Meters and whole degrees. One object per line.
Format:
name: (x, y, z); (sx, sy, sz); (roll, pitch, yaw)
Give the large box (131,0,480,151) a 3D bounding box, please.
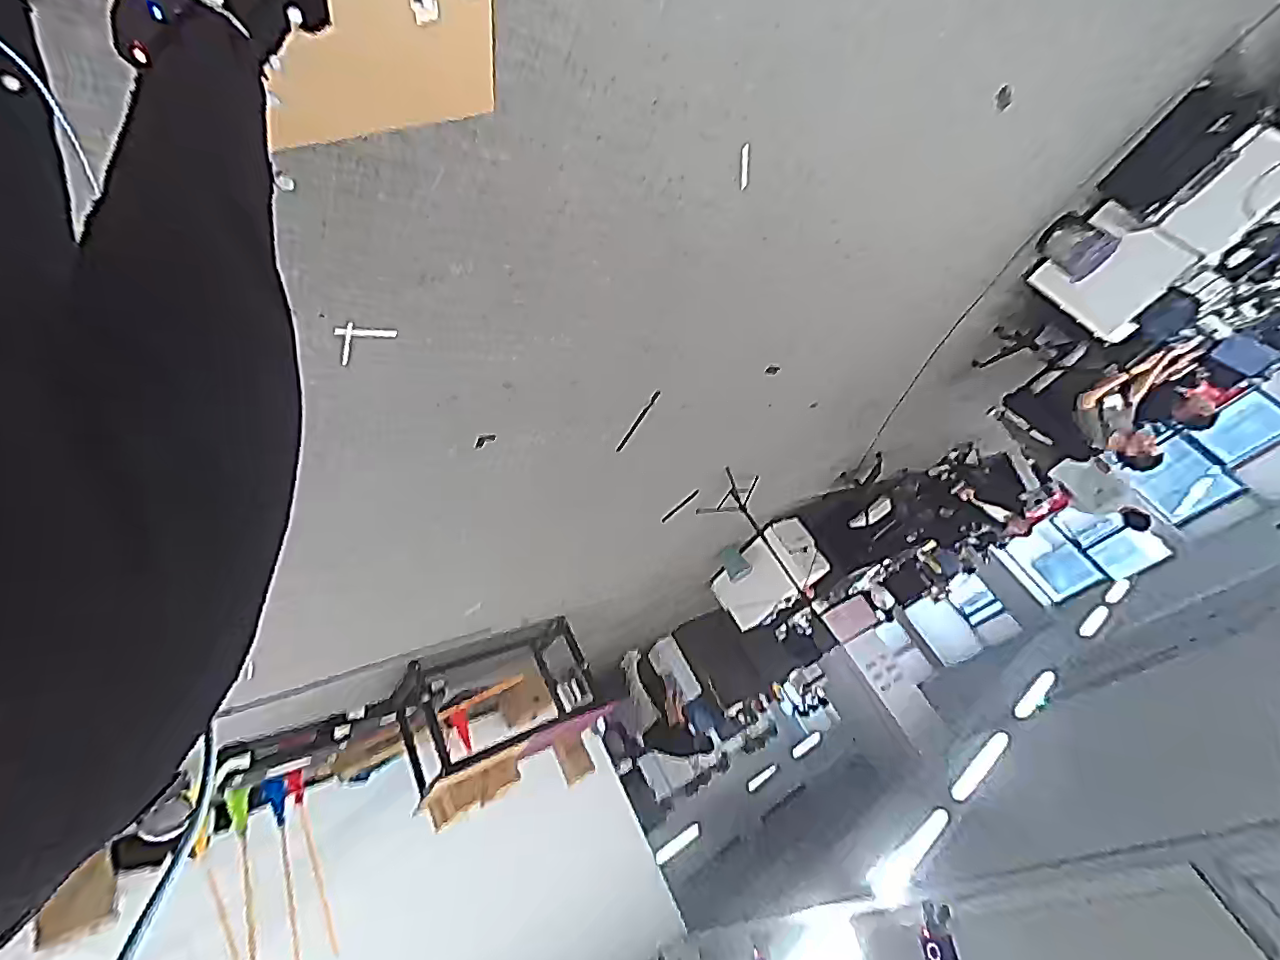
large box: (-0.432, -0.665, 0.630); (0.320, 0.408, 0.320); (-32, 161, -29)
